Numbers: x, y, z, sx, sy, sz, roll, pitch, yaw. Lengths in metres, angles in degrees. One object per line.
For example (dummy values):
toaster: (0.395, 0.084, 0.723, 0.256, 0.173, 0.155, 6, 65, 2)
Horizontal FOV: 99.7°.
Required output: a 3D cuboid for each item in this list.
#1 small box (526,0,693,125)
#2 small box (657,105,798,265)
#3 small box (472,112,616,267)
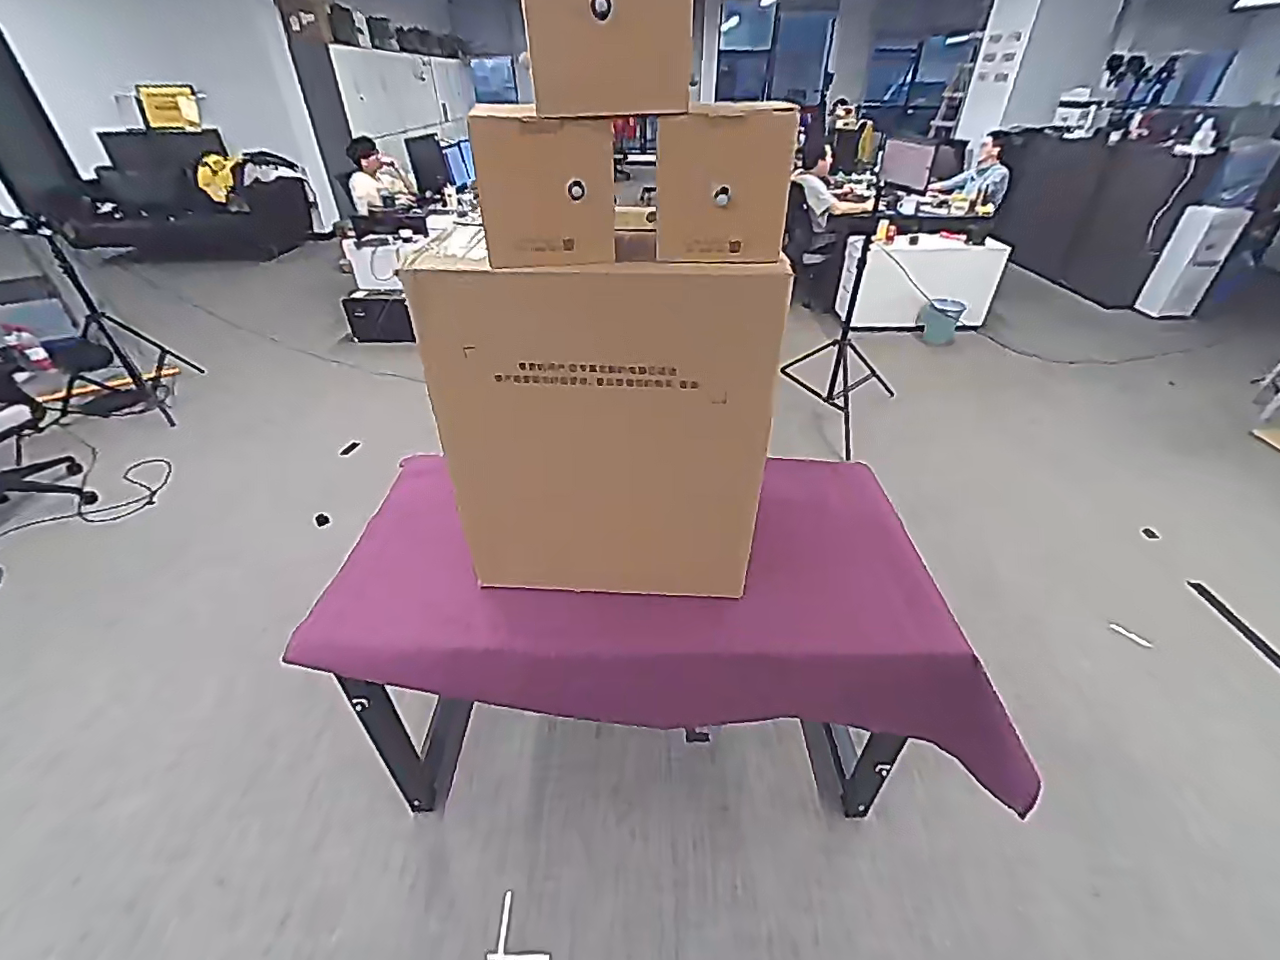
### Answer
small box: (-0.034, -0.521, 0.626, 0.179, 0.176, 0.168, -5, 38, -2)
small box: (0.109, -0.402, 0.736, 0.168, 0.176, 0.179, 2, 38, 3)
small box: (-0.123, -0.394, 0.734, 0.168, 0.176, 0.179, -5, 36, -8)
